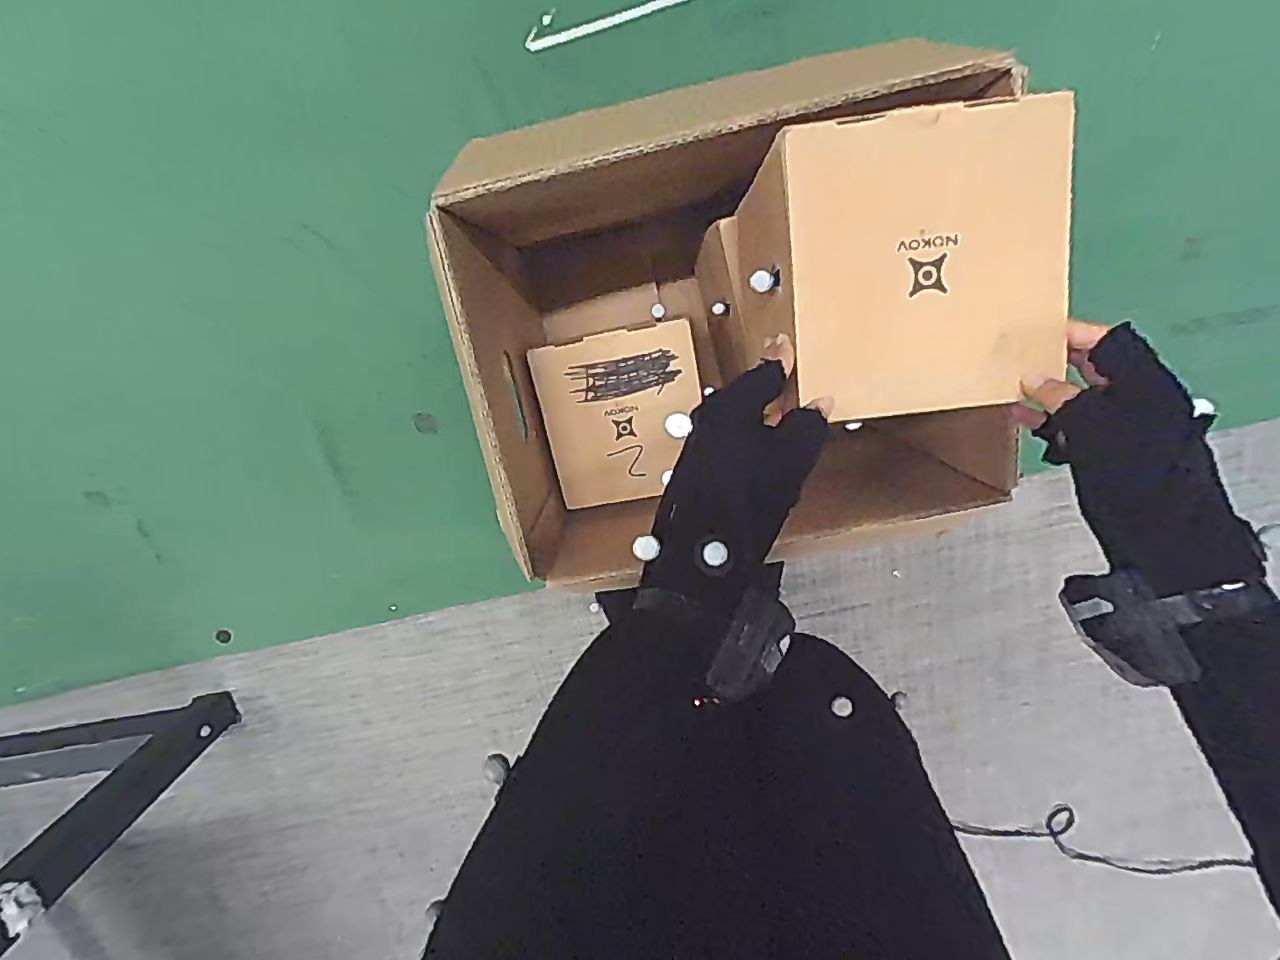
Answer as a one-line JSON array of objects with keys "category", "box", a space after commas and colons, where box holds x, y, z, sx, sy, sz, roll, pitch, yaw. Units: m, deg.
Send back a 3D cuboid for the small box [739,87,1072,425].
[{"category": "small box", "box": [0.171, -0.141, 0.399, 0.168, 0.176, 0.179, -6, 99, 3]}]
